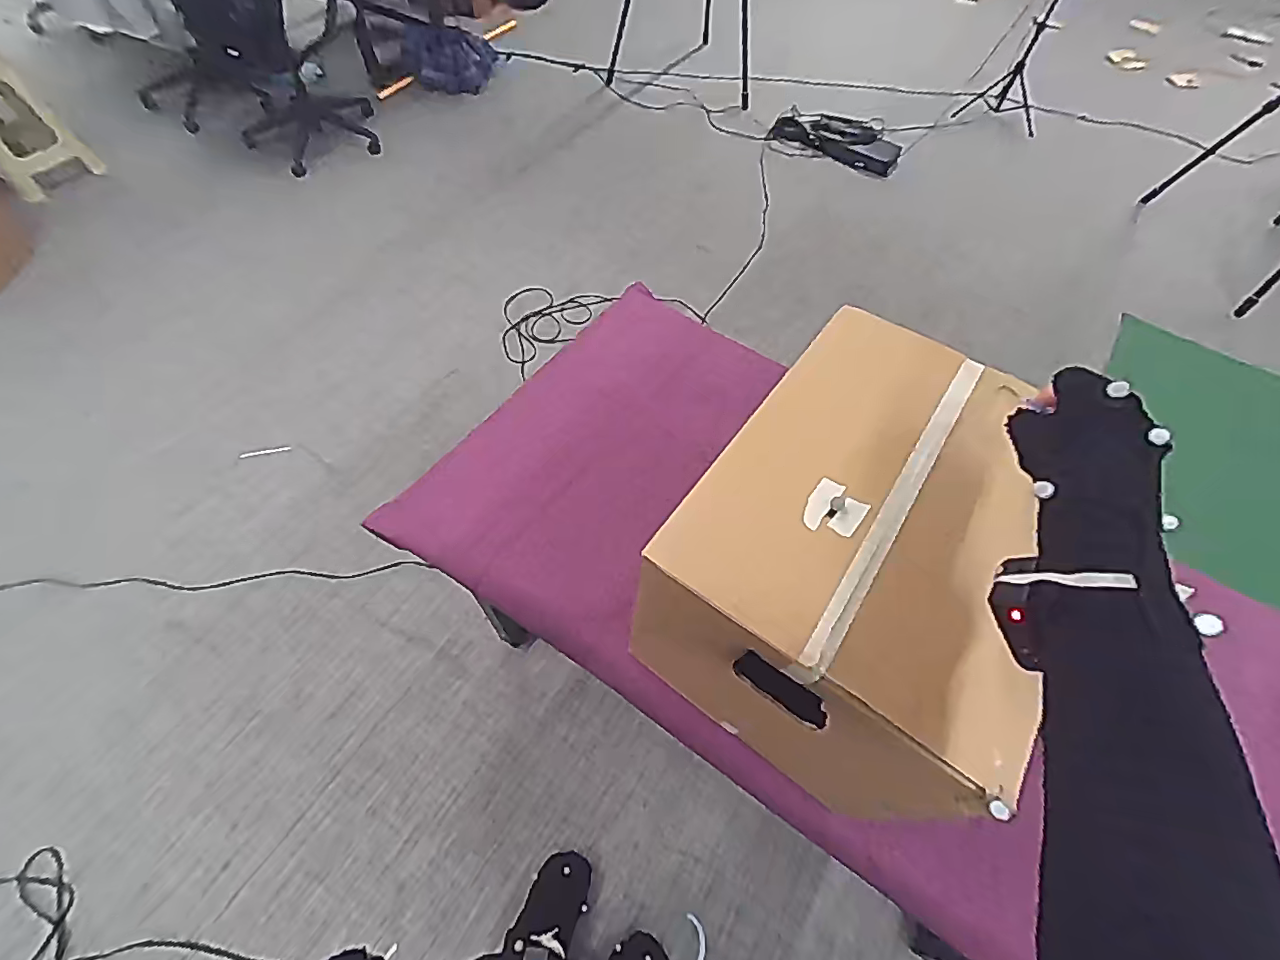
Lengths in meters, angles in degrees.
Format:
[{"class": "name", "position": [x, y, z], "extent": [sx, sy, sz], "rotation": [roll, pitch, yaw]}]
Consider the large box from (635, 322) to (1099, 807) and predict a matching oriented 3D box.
[{"class": "large box", "position": [0.235, 0.098, 0.642], "extent": [0.320, 0.320, 0.408], "rotation": [33, 62, 17]}]
